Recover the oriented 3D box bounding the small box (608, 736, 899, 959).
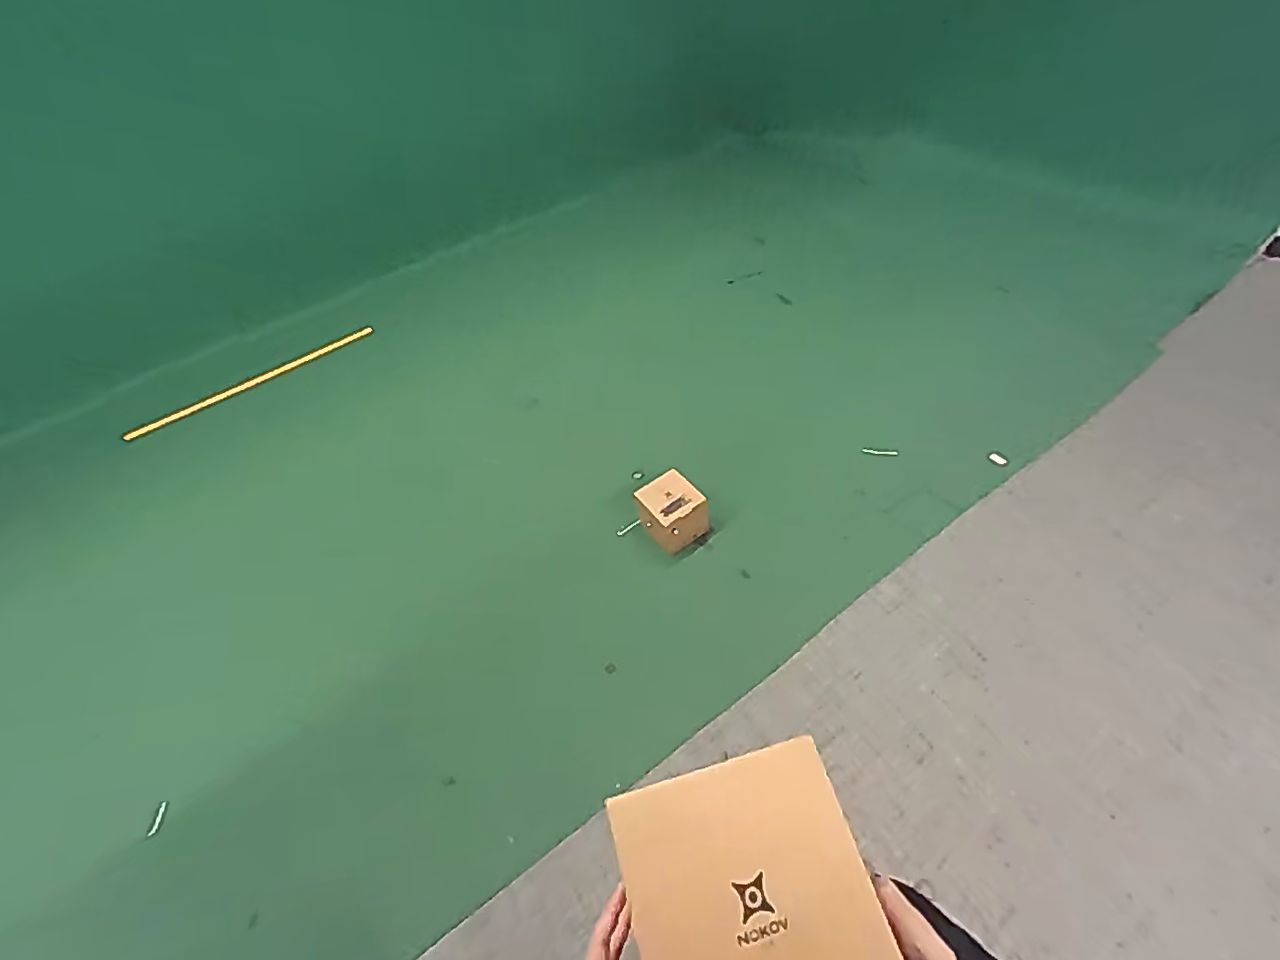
[{"bbox_3d":[0.073,0.331,0.432,0.168,0.176,0.179,-14,59,-10],"label":"small box"}]
